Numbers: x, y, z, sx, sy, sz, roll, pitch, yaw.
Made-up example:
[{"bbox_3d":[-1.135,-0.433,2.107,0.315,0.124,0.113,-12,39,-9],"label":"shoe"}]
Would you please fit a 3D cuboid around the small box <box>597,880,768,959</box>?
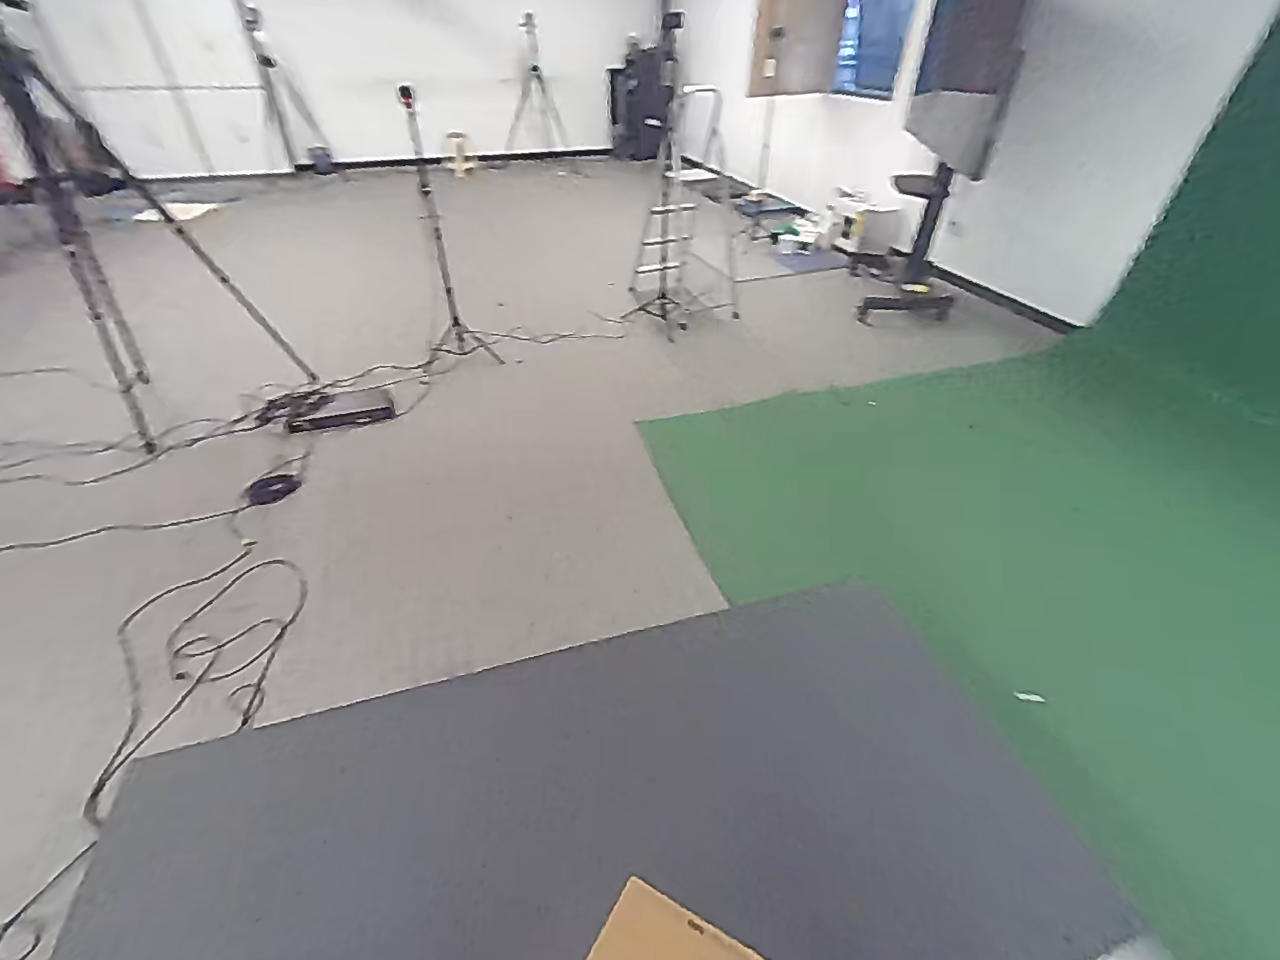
[{"bbox_3d":[0.022,0.398,0.333,0.168,0.176,0.179,22,74,17],"label":"small box"}]
